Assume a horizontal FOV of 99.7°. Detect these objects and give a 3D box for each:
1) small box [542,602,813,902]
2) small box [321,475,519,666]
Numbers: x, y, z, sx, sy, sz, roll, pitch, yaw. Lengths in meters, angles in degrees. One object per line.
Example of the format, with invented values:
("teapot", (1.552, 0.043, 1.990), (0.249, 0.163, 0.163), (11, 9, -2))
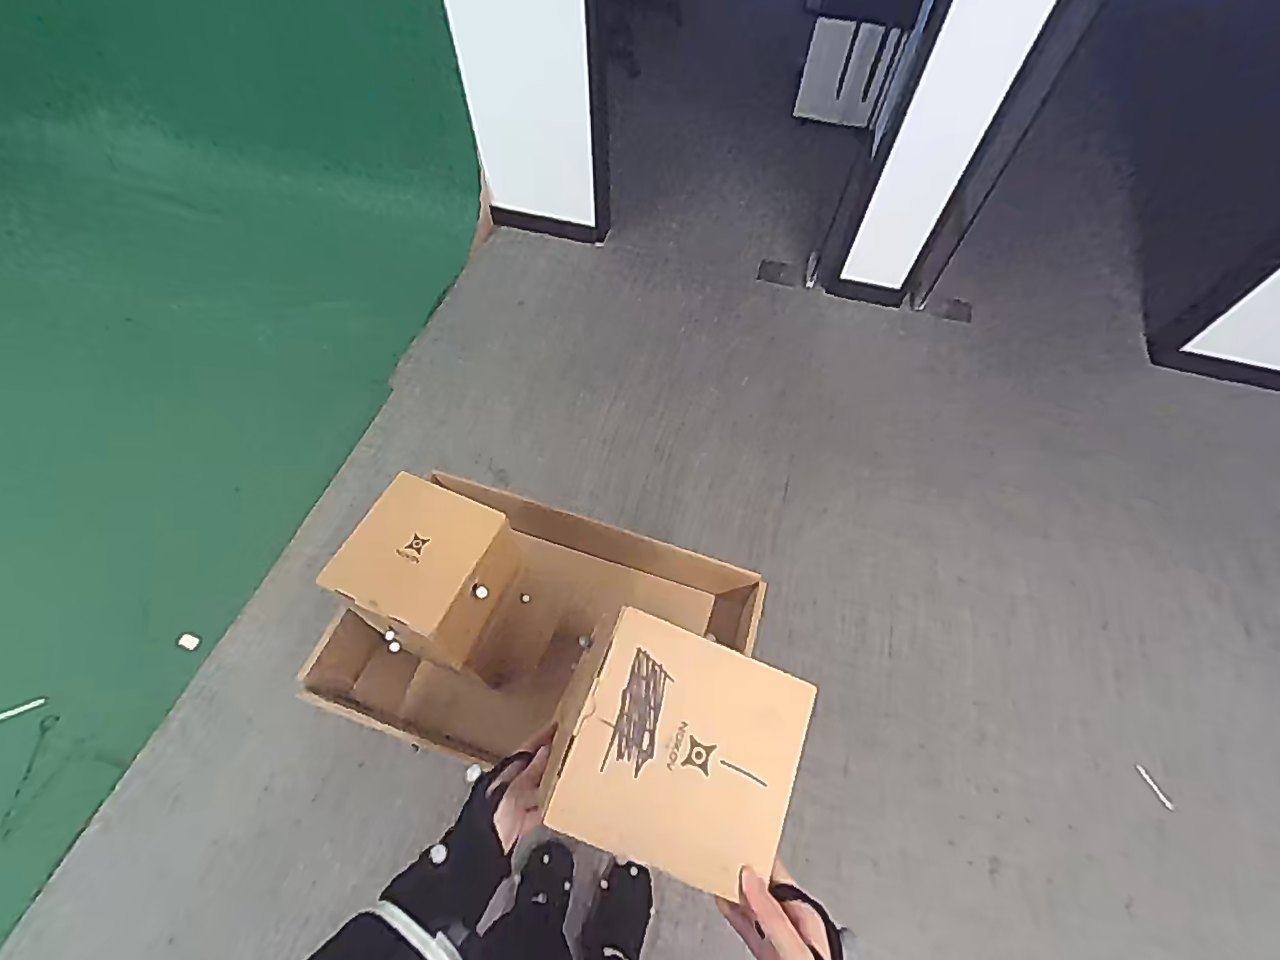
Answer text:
("small box", (0.022, 0.230, 0.492), (0.179, 0.176, 0.168), (25, 69, -3))
("small box", (-0.282, 0.129, 0.744), (0.168, 0.176, 0.179), (22, 61, 11))
